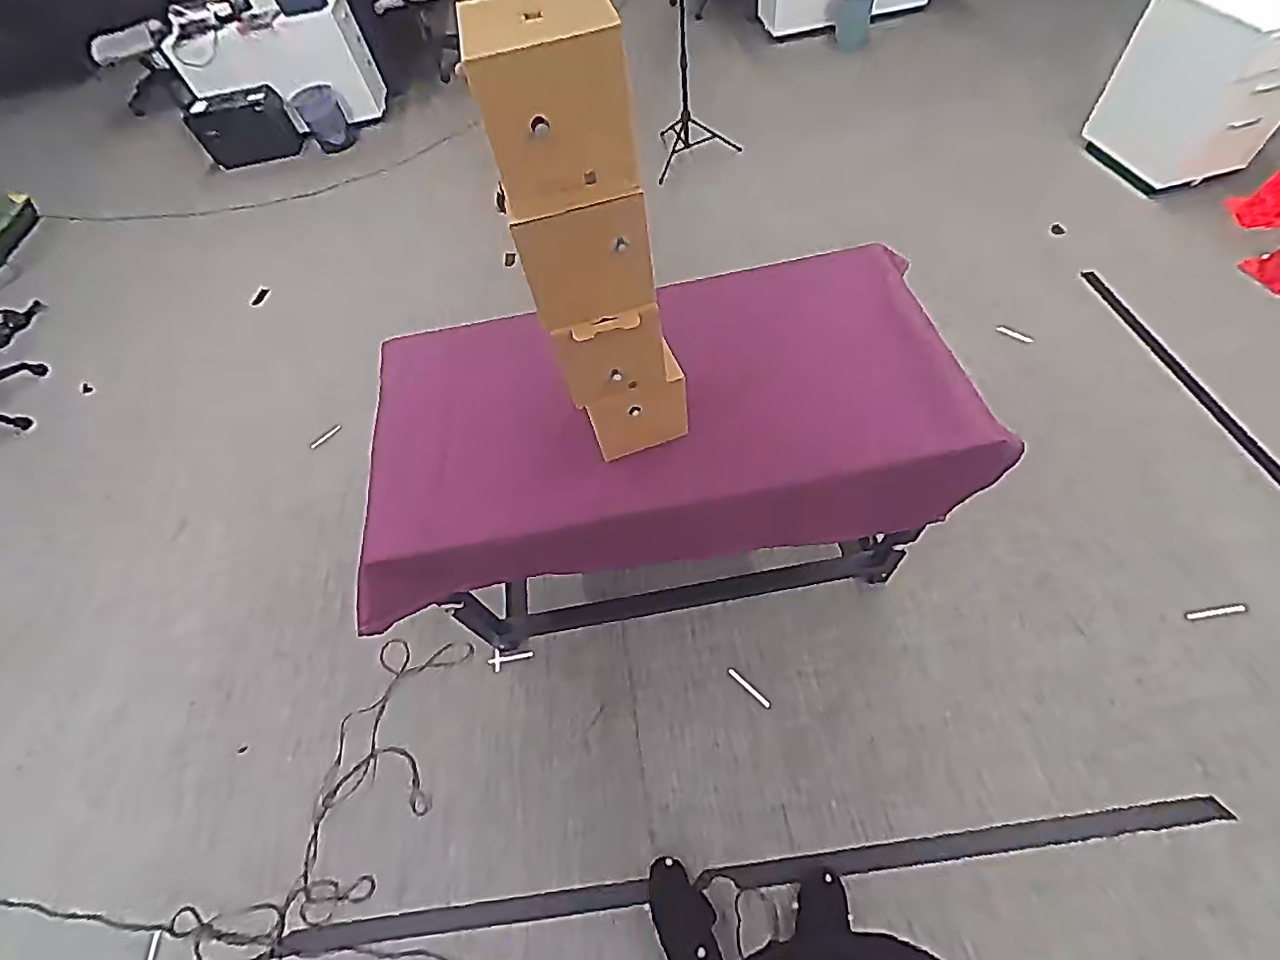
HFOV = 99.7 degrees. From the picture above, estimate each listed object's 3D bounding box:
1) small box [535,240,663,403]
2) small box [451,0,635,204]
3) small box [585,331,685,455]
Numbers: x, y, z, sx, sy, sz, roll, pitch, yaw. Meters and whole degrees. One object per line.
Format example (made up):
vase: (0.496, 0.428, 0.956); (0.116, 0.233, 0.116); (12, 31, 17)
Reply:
small box: (-0.064, -0.260, 0.902); (0.168, 0.176, 0.179); (-16, 57, -1)
small box: (-0.109, -0.454, 0.642); (0.168, 0.176, 0.179); (-15, 56, -1)
small box: (-0.022, -0.172, 1.037); (0.179, 0.176, 0.168); (-20, 58, -5)
